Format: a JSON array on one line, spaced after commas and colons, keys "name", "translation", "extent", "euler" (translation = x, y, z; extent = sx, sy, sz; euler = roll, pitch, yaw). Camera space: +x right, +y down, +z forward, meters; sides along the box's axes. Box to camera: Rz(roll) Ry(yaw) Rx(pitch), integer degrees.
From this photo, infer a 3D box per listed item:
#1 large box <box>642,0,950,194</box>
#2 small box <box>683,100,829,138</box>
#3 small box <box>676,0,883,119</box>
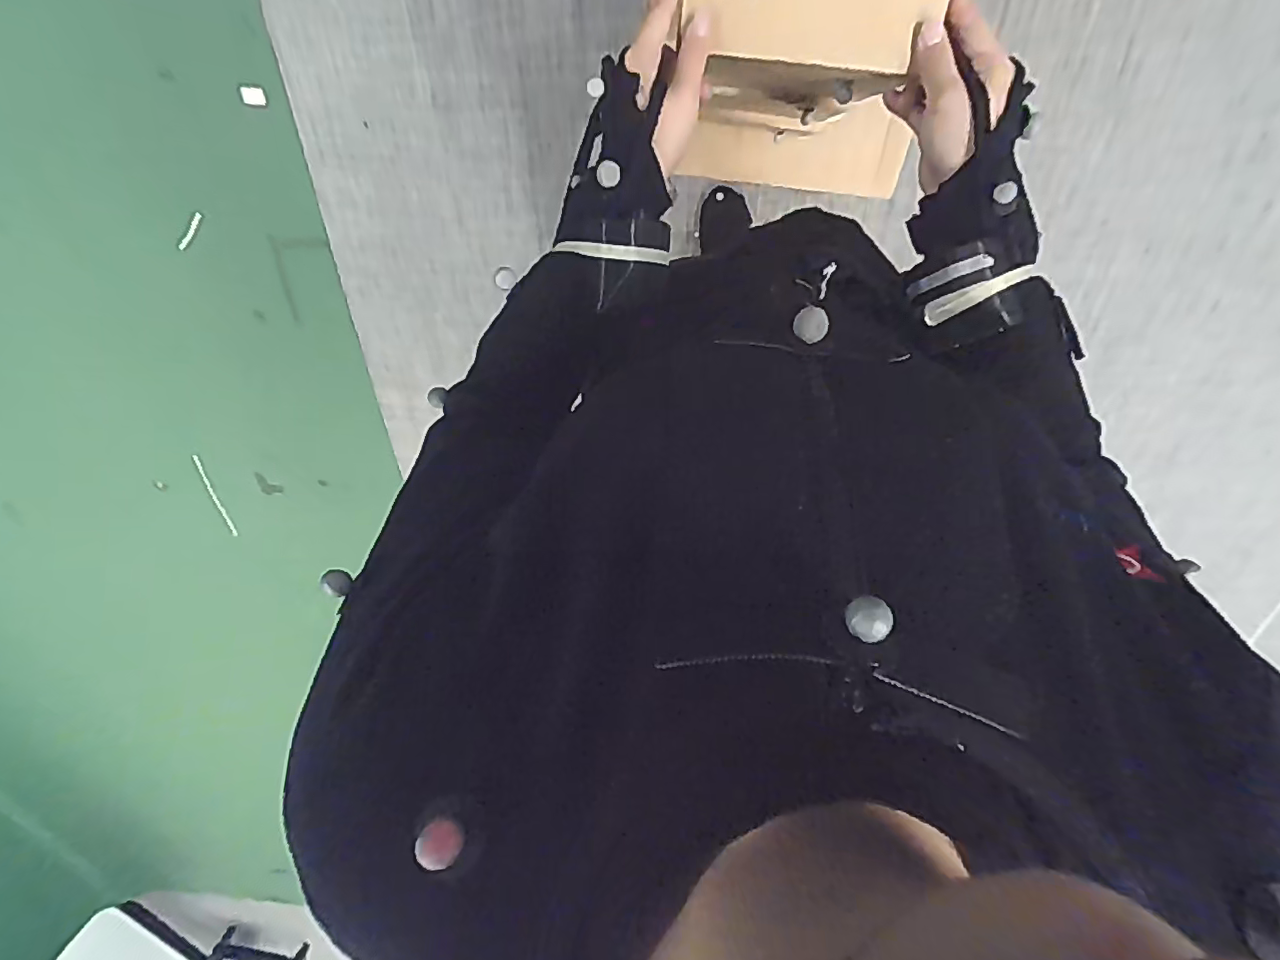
[{"name": "large box", "translation": [0.219, -0.670, 0.888], "extent": [0.408, 0.320, 0.320], "euler": [6, 123, 1]}, {"name": "small box", "translation": [0.155, -0.542, 0.688], "extent": [0.179, 0.176, 0.168], "euler": [8, 121, 2]}, {"name": "small box", "translation": [0.135, -0.472, 0.542], "extent": [0.179, 0.176, 0.168], "euler": [7, 121, 2]}]
